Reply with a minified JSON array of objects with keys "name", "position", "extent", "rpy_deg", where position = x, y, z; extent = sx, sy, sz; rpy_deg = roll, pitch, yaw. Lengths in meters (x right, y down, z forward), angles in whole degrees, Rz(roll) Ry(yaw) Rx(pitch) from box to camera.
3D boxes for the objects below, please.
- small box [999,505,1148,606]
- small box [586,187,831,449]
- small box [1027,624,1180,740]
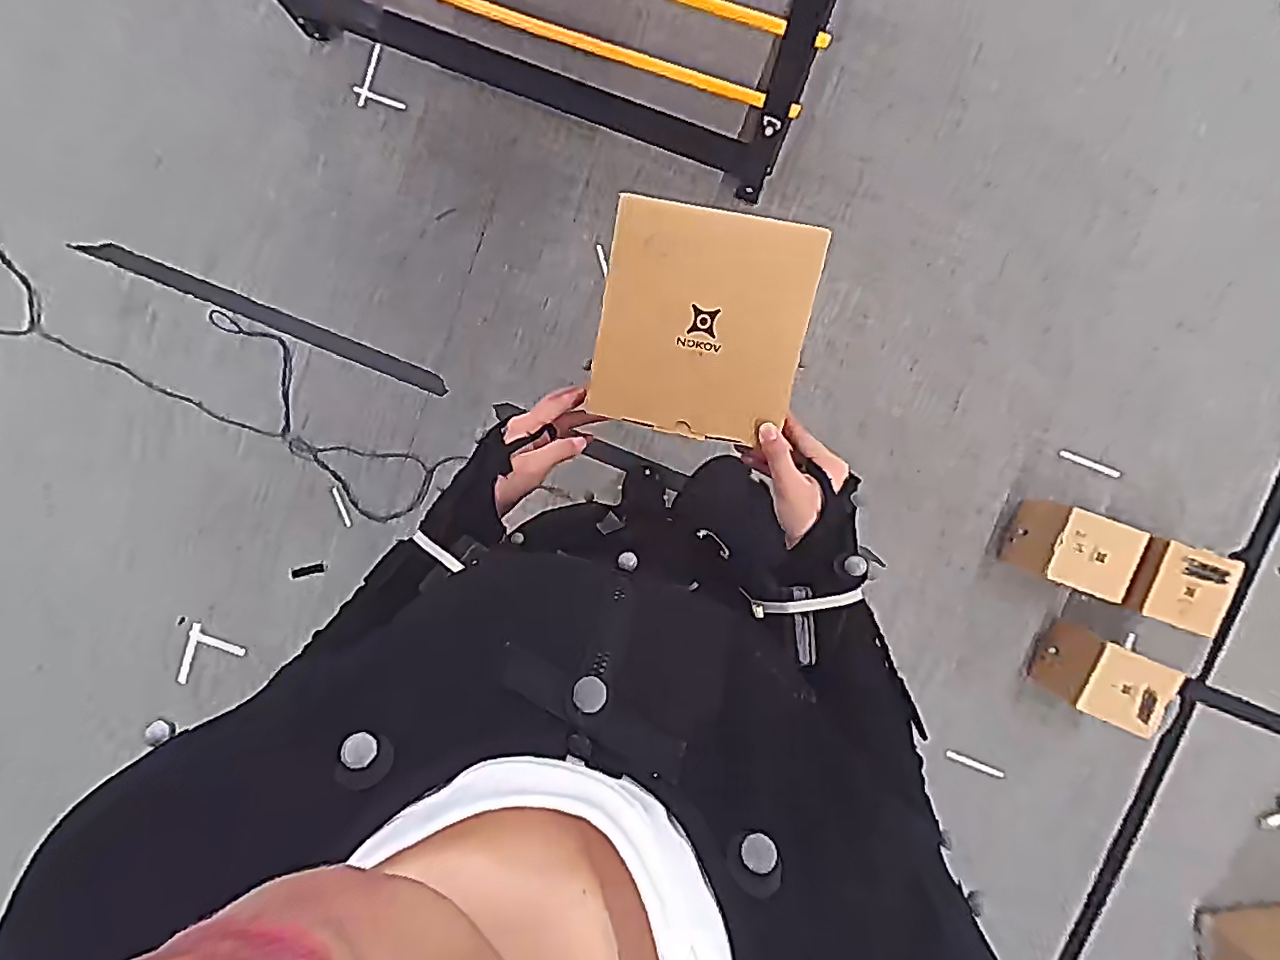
[{"name":"small box","position":[0.983,0.163,1.243],"extent":[0.179,0.176,0.168],"rpy_deg":[20,94,1]},{"name":"small box","position":[0.054,-0.140,0.500],"extent":[0.168,0.176,0.179],"rpy_deg":[11,104,2]},{"name":"small box","position":[1.067,0.460,1.260],"extent":[0.179,0.176,0.168],"rpy_deg":[24,94,2]}]
